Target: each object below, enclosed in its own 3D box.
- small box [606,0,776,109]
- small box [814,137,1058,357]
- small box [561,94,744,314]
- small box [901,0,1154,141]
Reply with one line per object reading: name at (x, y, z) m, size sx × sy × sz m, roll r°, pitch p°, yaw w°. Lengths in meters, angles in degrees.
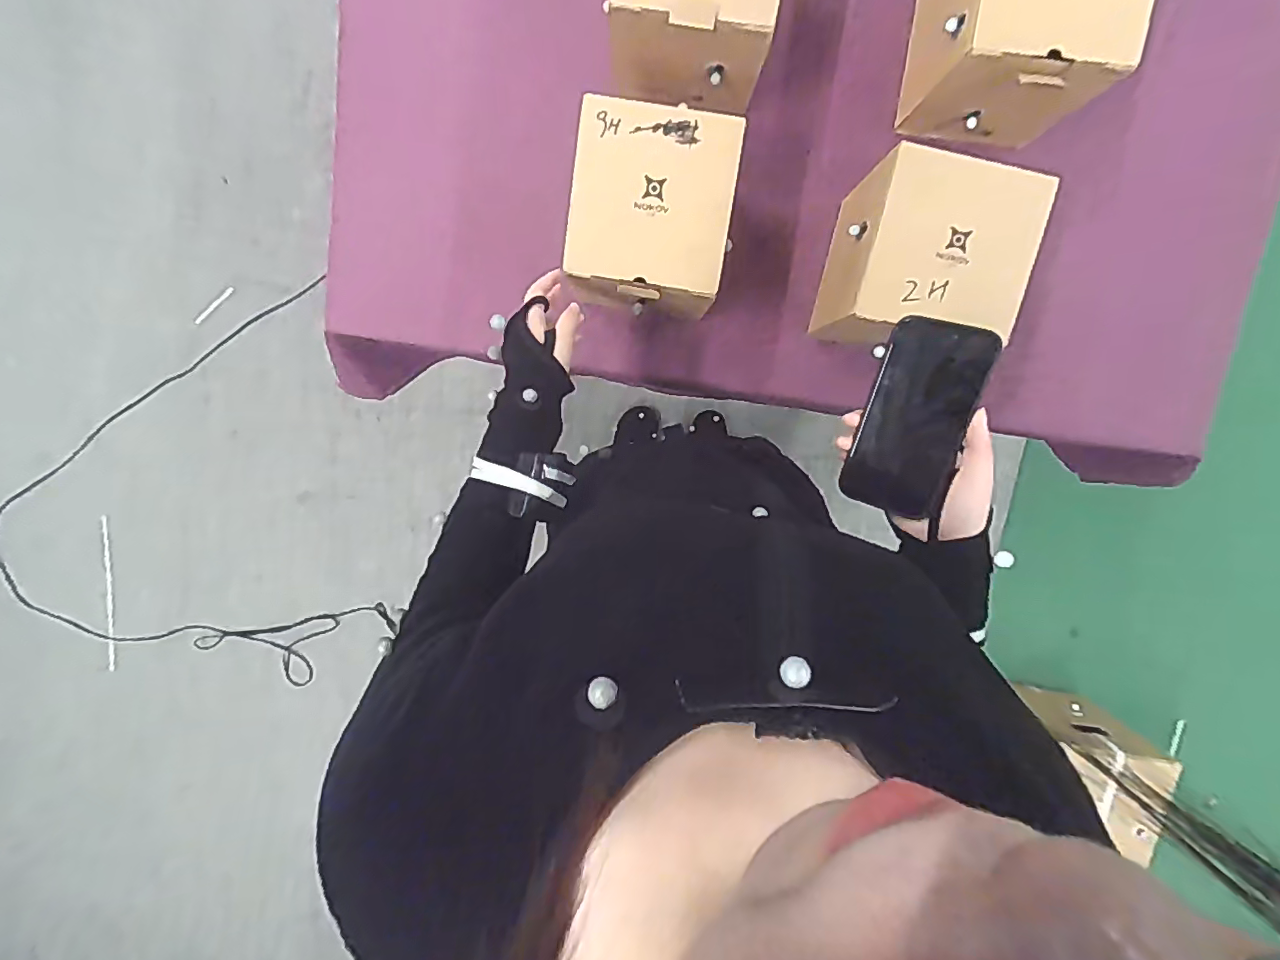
small box at (0.061, -0.543, 0.587) m, size 0.168 × 0.176 × 0.179 m, roll 8°, pitch 99°, yaw -1°
small box at (0.320, -0.251, 0.626) m, size 0.168 × 0.176 × 0.179 m, roll 13°, pitch 99°, yaw 0°
small box at (0.013, -0.299, 0.627) m, size 0.168 × 0.176 × 0.179 m, roll 9°, pitch 100°, yaw 0°
small box at (0.409, -0.506, 0.585) m, size 0.168 × 0.176 × 0.179 m, roll 6°, pitch 100°, yaw 1°
